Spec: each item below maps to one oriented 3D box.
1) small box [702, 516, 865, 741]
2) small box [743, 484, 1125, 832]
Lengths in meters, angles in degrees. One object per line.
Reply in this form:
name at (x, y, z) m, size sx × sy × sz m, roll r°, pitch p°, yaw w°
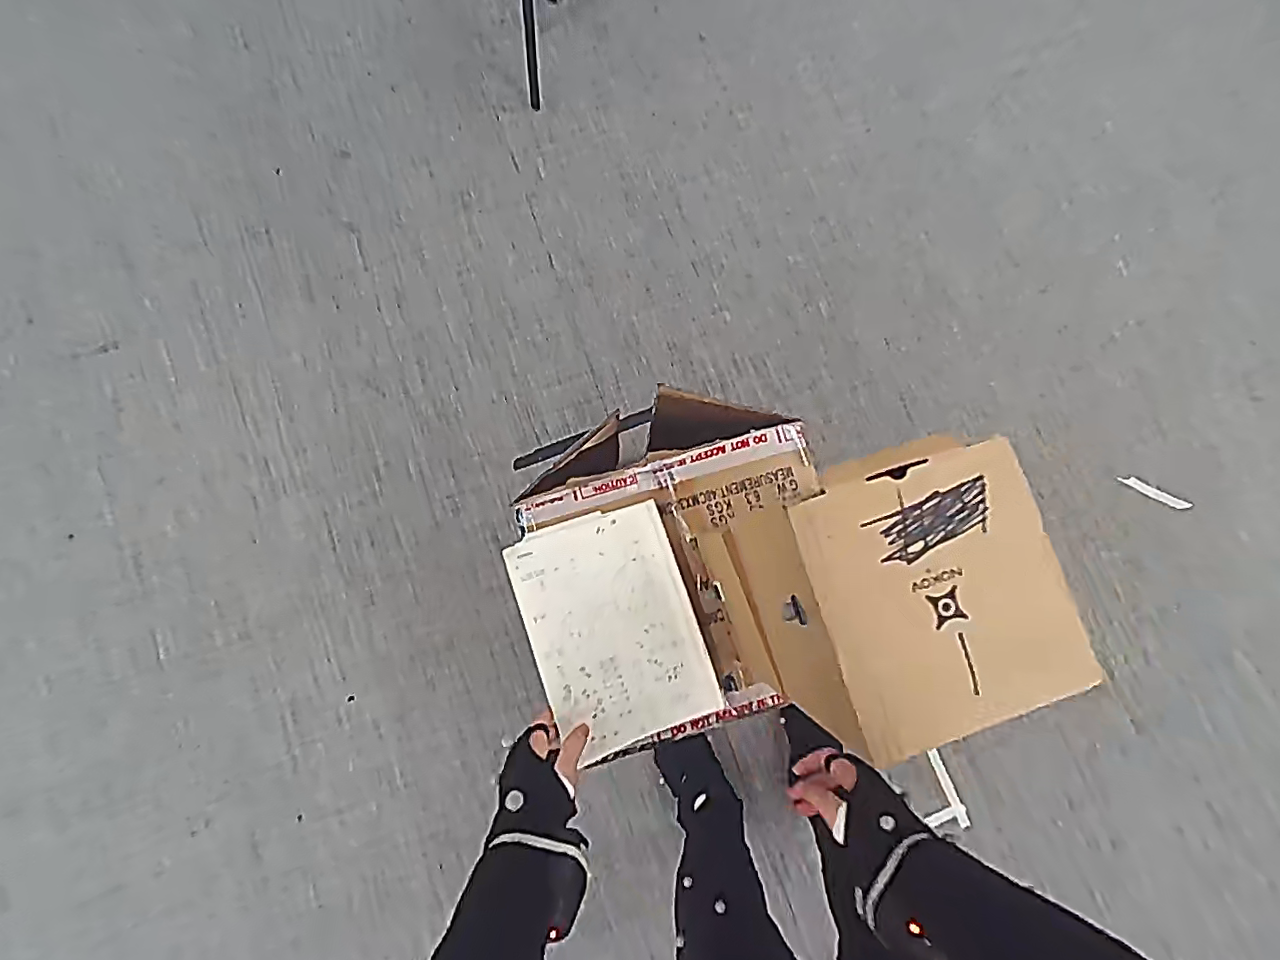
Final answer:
small box at (0.184, 0.141, 0.580) m, size 0.179 × 0.176 × 0.168 m, roll -21°, pitch 84°, yaw -5°
small box at (0.196, 0.117, 0.418) m, size 0.168 × 0.176 × 0.179 m, roll -17°, pitch 84°, yaw -5°
